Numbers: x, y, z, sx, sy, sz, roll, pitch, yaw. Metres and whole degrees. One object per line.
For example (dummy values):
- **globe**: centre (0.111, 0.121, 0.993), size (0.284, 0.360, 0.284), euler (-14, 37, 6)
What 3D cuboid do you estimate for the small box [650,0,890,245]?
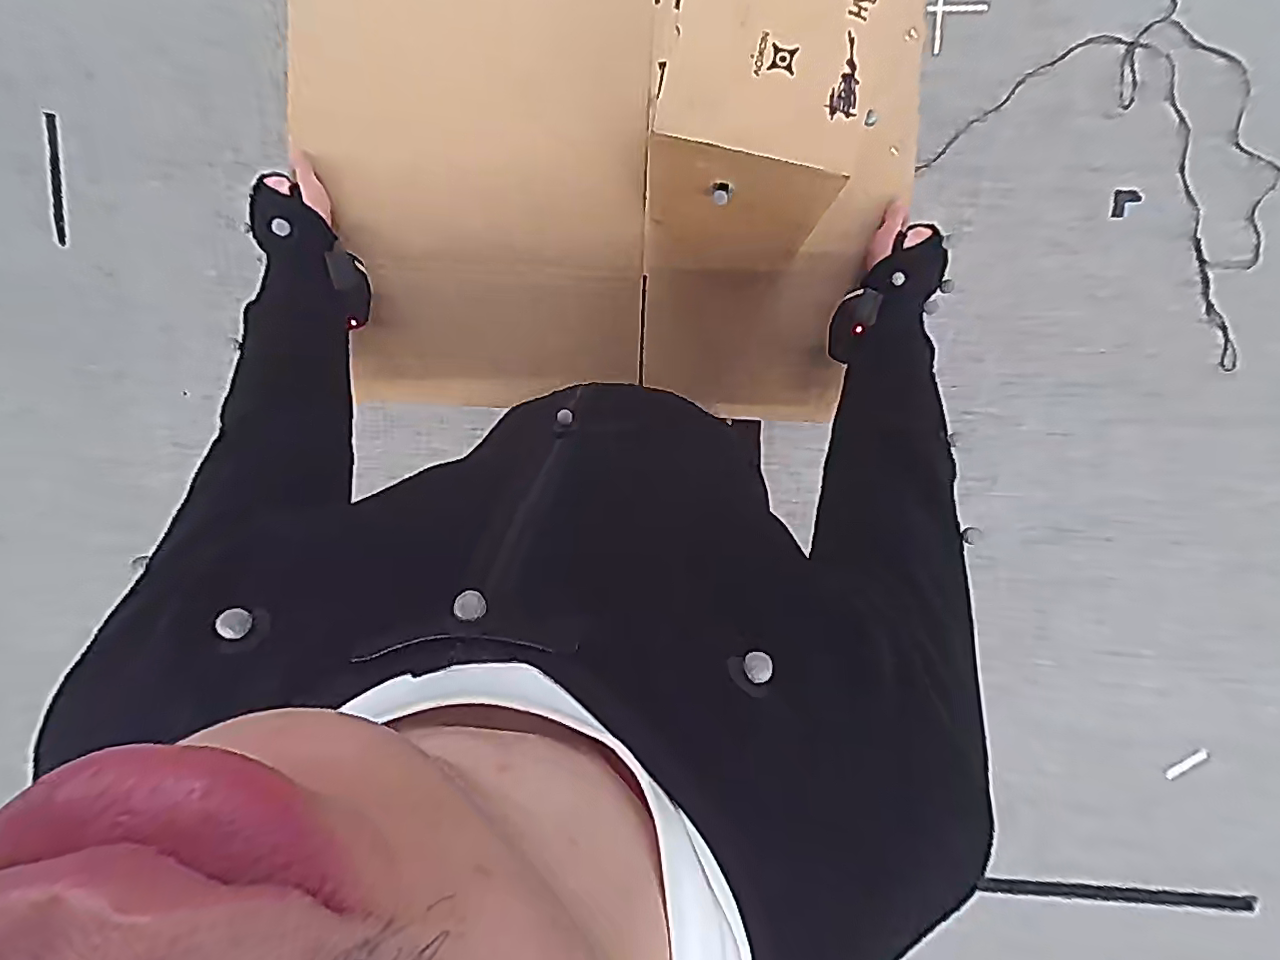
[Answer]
- **small box**: centre (0.114, -0.358, 0.539), size (0.179, 0.176, 0.168), euler (13, 93, 2)
